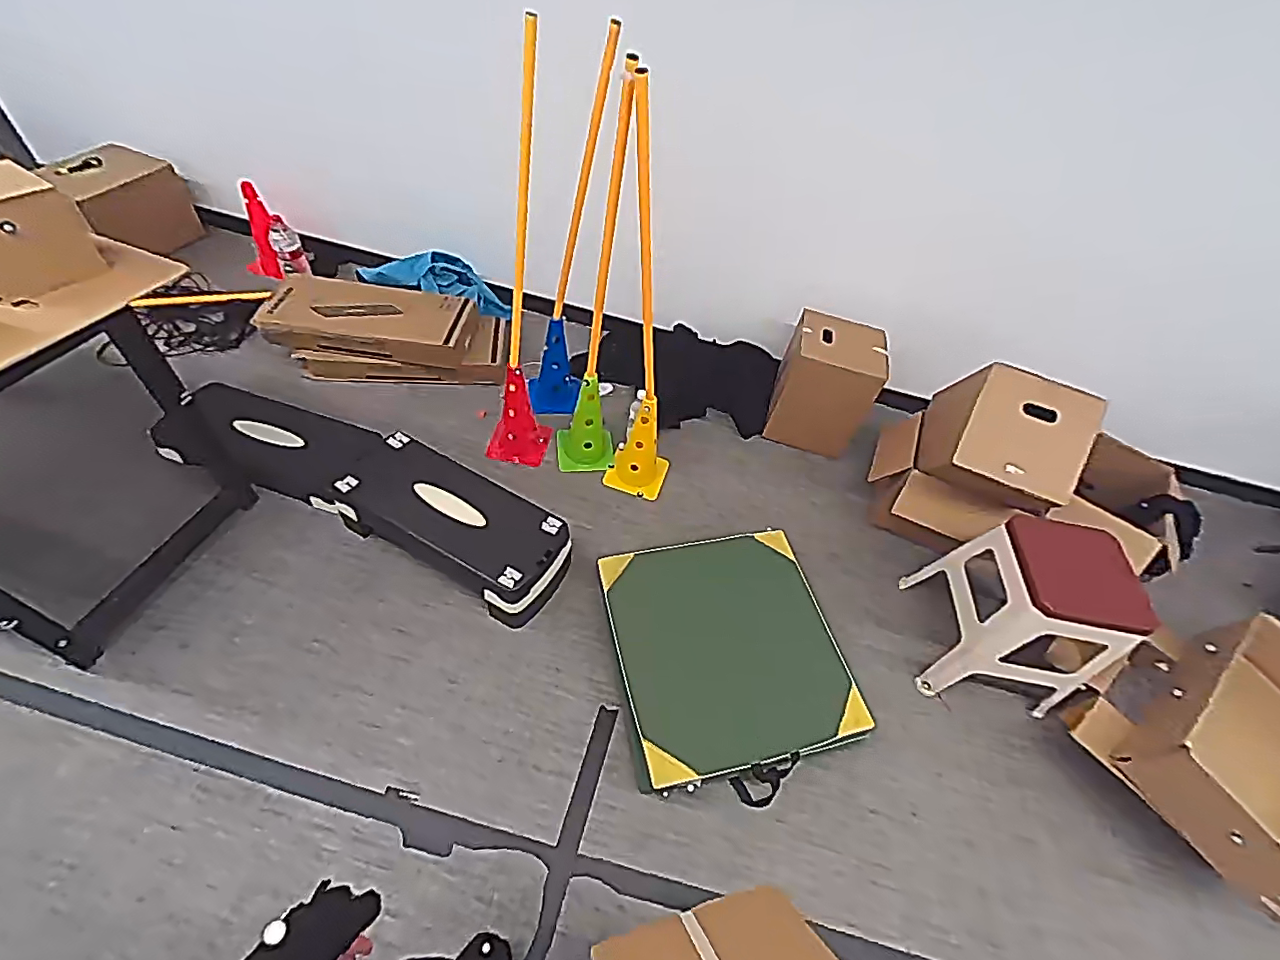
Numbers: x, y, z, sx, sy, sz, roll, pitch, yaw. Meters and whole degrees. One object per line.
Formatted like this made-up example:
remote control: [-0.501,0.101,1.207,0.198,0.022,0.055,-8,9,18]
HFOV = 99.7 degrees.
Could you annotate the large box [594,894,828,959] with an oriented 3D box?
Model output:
large box: [0.146,0.821,0.652,0.320,0.408,0.320,-7,85,-16]
